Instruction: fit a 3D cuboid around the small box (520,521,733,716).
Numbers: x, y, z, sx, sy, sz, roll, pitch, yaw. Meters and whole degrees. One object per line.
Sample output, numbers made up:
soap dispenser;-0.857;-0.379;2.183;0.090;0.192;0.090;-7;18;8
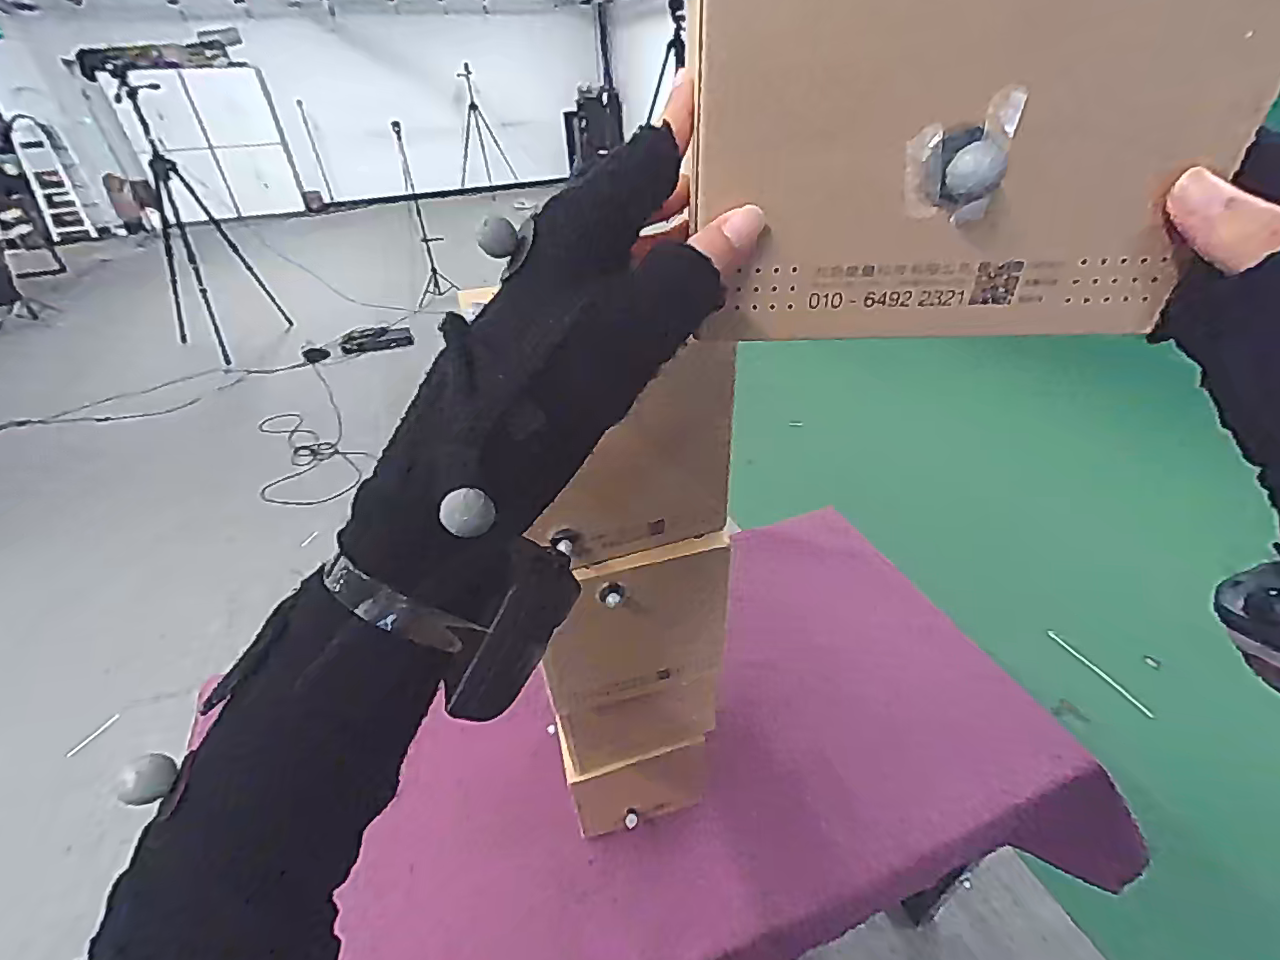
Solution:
small box;-0.022;0.087;0.519;0.168;0.176;0.179;-12;36;-10

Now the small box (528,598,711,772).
small box;-0.022;0.206;0.634;0.179;0.176;0.168;-13;38;-13

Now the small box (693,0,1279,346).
small box;0.107;-0.165;0.219;0.168;0.176;0.179;0;35;4

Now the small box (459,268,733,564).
small box;-0.038;-0.053;0.432;0.168;0.176;0.179;-13;36;-14

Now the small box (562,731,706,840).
small box;-0.020;0.338;0.727;0.168;0.176;0.179;-13;38;-11
